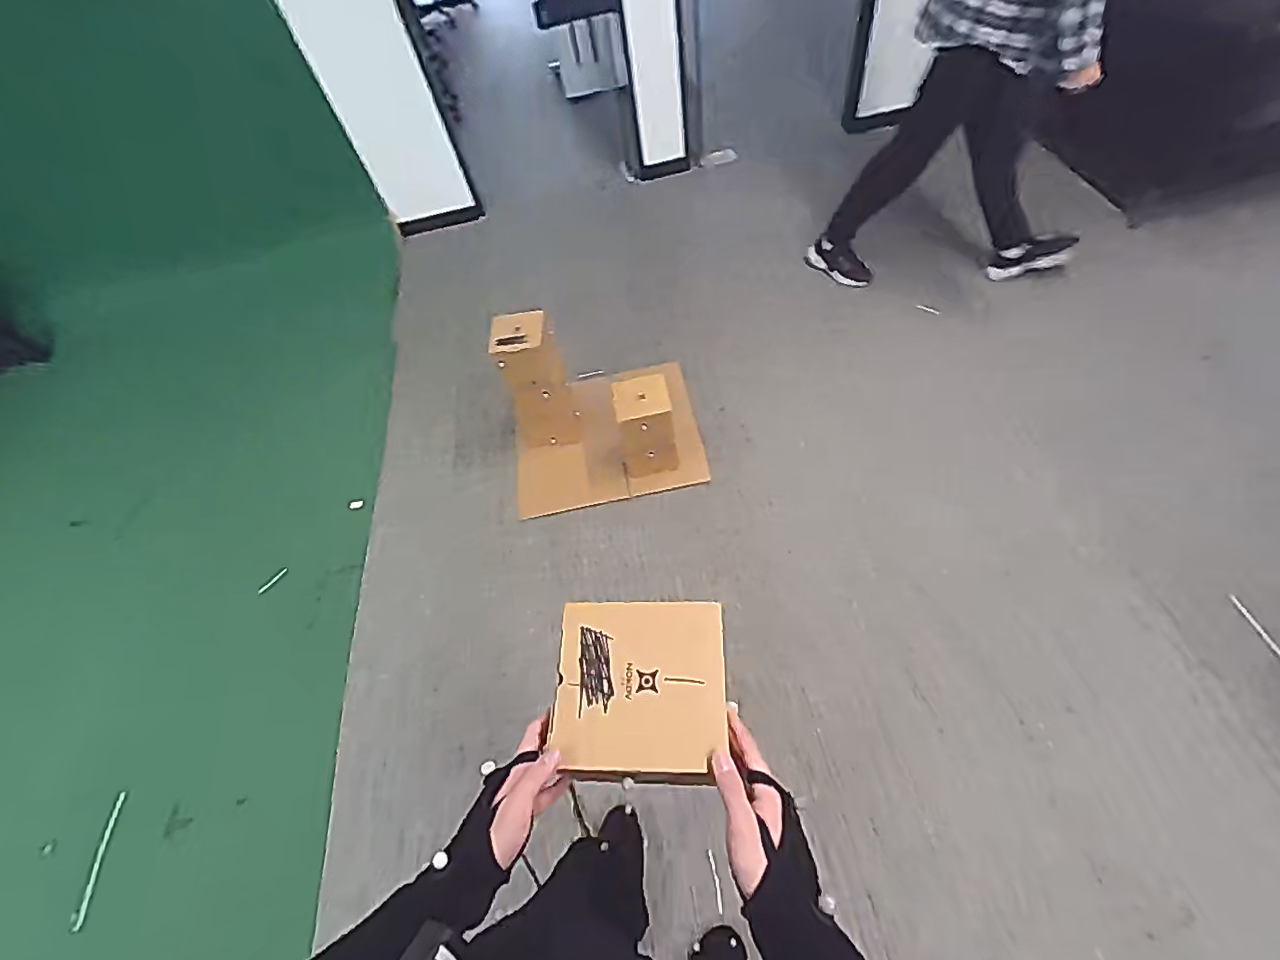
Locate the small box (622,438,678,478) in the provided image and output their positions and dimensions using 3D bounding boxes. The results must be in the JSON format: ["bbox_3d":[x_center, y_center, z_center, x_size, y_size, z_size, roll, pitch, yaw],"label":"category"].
[{"bbox_3d":[0.031,-0.126,1.904,0.179,0.176,0.168,-11,56,2],"label":"small box"}]

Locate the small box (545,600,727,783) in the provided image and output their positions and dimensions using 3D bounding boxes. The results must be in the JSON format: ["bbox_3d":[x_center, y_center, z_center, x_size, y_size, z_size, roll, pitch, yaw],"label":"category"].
[{"bbox_3d":[0.005,0.245,0.616,0.179,0.176,0.168,-2,57,5],"label":"small box"}]

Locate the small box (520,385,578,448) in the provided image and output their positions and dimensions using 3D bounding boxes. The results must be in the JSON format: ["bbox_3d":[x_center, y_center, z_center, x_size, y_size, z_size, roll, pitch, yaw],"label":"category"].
[{"bbox_3d":[-0.336,-0.237,2.036,0.179,0.176,0.168,-5,56,6],"label":"small box"}]

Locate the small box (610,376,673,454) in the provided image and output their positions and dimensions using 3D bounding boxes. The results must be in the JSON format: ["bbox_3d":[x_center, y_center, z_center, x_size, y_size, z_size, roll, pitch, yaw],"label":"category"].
[{"bbox_3d":[0.010,-0.209,1.767,0.179,0.176,0.168,-12,56,2],"label":"small box"}]

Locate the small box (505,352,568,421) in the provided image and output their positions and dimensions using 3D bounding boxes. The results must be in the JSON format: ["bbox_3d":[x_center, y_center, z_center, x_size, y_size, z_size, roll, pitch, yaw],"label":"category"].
[{"bbox_3d":[-0.354,-0.324,1.896,0.179,0.176,0.168,-5,55,6],"label":"small box"}]
